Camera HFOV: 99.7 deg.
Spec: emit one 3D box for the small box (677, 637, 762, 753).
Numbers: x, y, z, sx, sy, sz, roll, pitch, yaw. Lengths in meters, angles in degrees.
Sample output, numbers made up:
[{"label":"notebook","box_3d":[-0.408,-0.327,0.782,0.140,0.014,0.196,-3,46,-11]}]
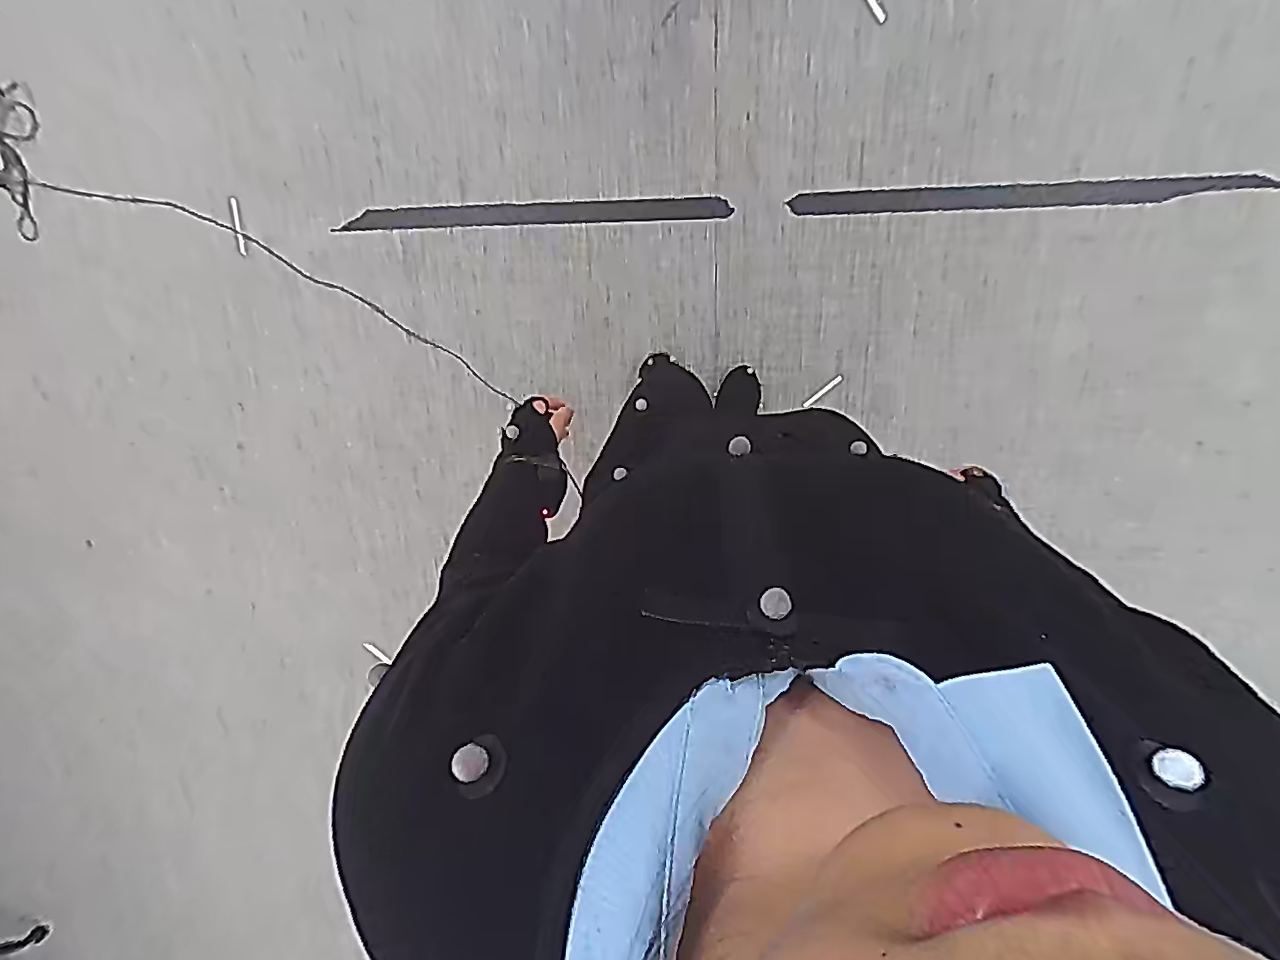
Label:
[{"label":"small box","box_3d":[0.175,0.472,1.198,0.168,0.176,0.179,-5,103,7]}]
